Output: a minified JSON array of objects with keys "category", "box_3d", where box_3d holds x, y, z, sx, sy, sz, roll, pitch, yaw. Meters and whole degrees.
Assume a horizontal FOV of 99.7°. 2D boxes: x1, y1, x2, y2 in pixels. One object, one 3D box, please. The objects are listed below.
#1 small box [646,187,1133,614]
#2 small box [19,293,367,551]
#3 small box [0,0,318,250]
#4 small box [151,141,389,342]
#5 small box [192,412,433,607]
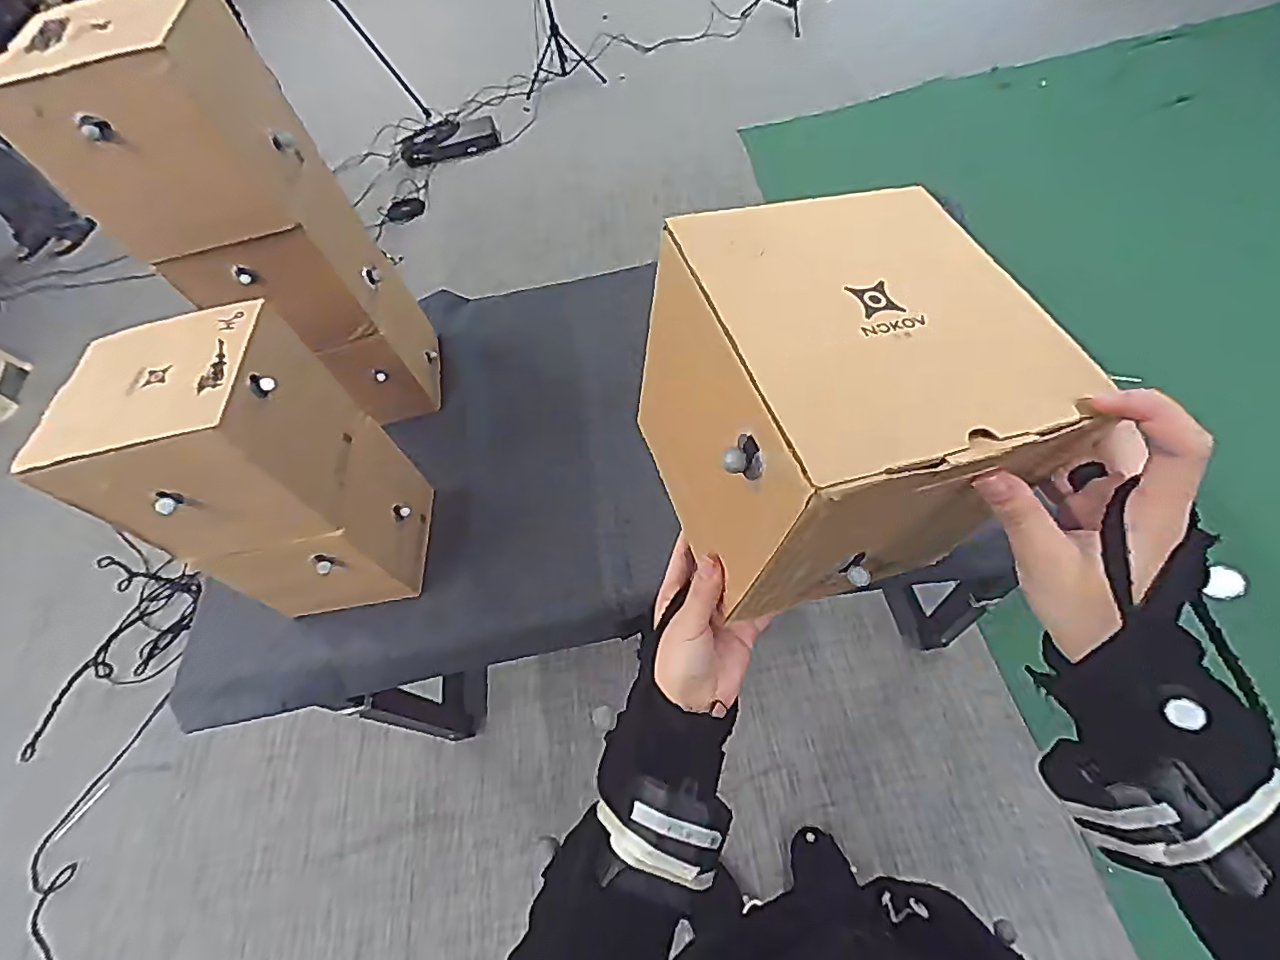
[{"category":"small box","box_3d":[0.110,-0.043,0.329,0.168,0.176,0.179,-14,61,-14]},{"category":"small box","box_3d":[-0.408,-0.048,0.534,0.179,0.176,0.168,-13,56,2]},{"category":"small box","box_3d":[-0.468,-0.361,0.544,0.179,0.176,0.168,-13,60,1]},{"category":"small box","box_3d":[-0.450,-0.287,0.690,0.179,0.176,0.168,-14,60,0]},{"category":"small box","box_3d":[-0.379,0.043,0.667,0.179,0.176,0.168,-10,56,4]}]
